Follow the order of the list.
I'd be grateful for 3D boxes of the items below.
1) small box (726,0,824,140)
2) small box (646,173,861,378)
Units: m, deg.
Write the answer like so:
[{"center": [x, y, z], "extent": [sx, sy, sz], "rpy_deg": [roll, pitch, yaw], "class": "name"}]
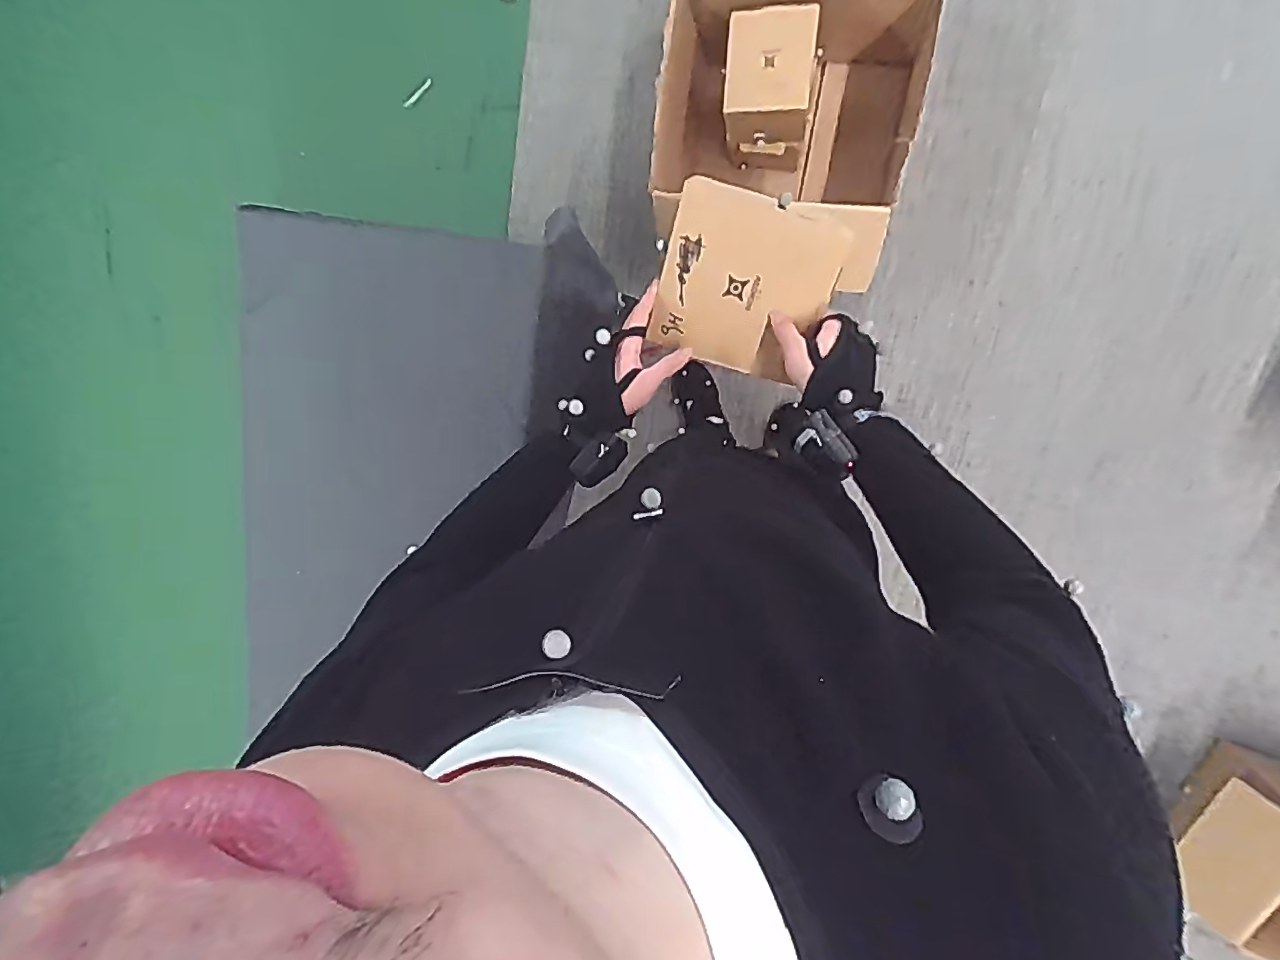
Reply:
[{"center": [0.268, -0.816, 1.089], "extent": [0.168, 0.176, 0.179], "rpy_deg": [6, 104, 13], "class": "small box"}, {"center": [0.119, -0.242, 0.621], "extent": [0.179, 0.176, 0.168], "rpy_deg": [17, 121, -1], "class": "small box"}]
